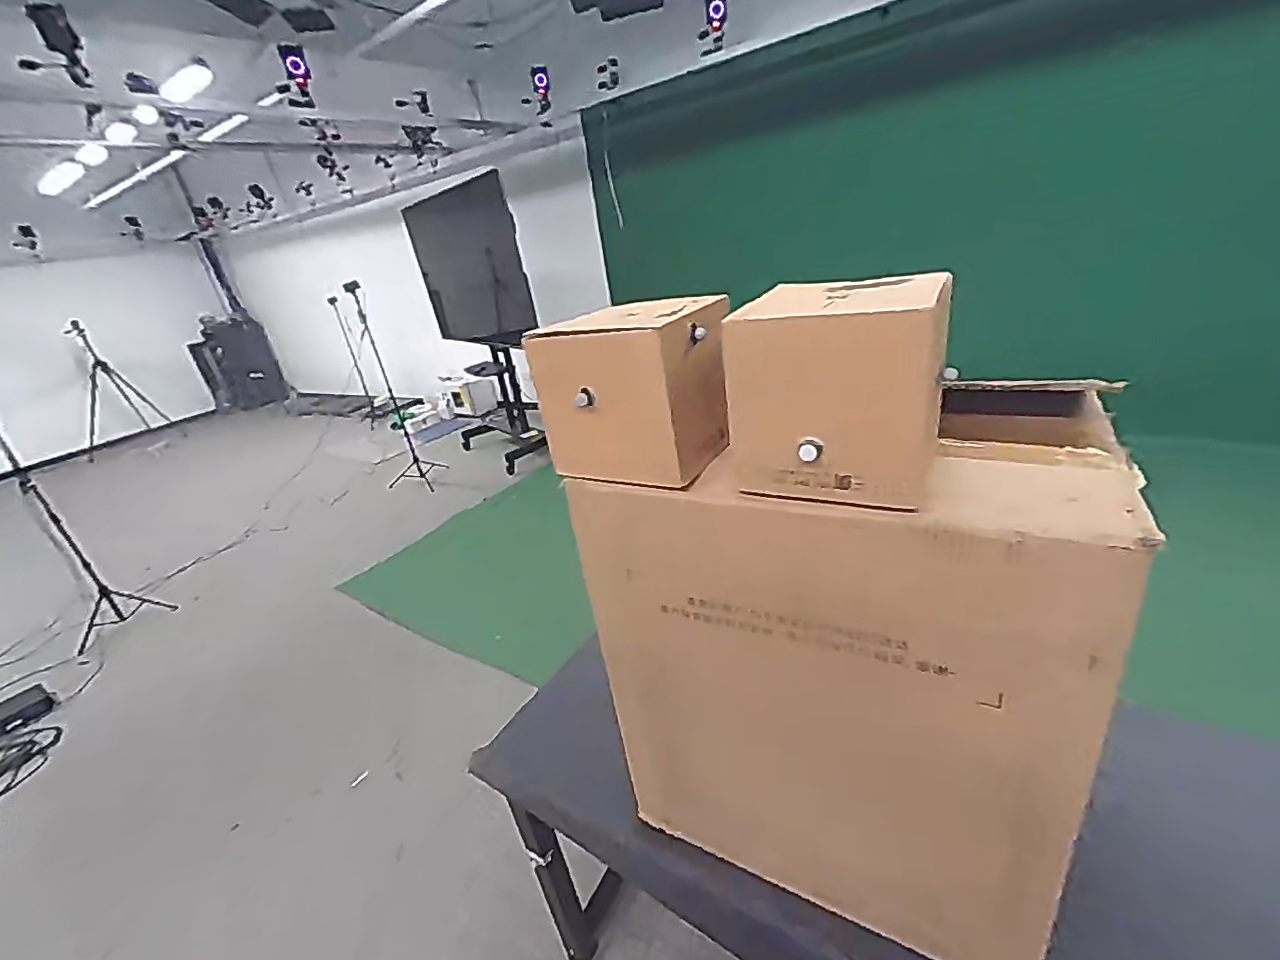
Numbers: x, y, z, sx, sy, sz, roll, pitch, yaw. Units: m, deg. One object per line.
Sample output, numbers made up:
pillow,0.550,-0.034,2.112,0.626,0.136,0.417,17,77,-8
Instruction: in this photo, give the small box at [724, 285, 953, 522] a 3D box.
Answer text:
small box,0.191,-0.083,0.521,0.168,0.176,0.179,8,31,31

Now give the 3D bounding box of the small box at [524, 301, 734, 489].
small box,-0.002,-0.101,0.627,0.179,0.176,0.168,7,30,31
